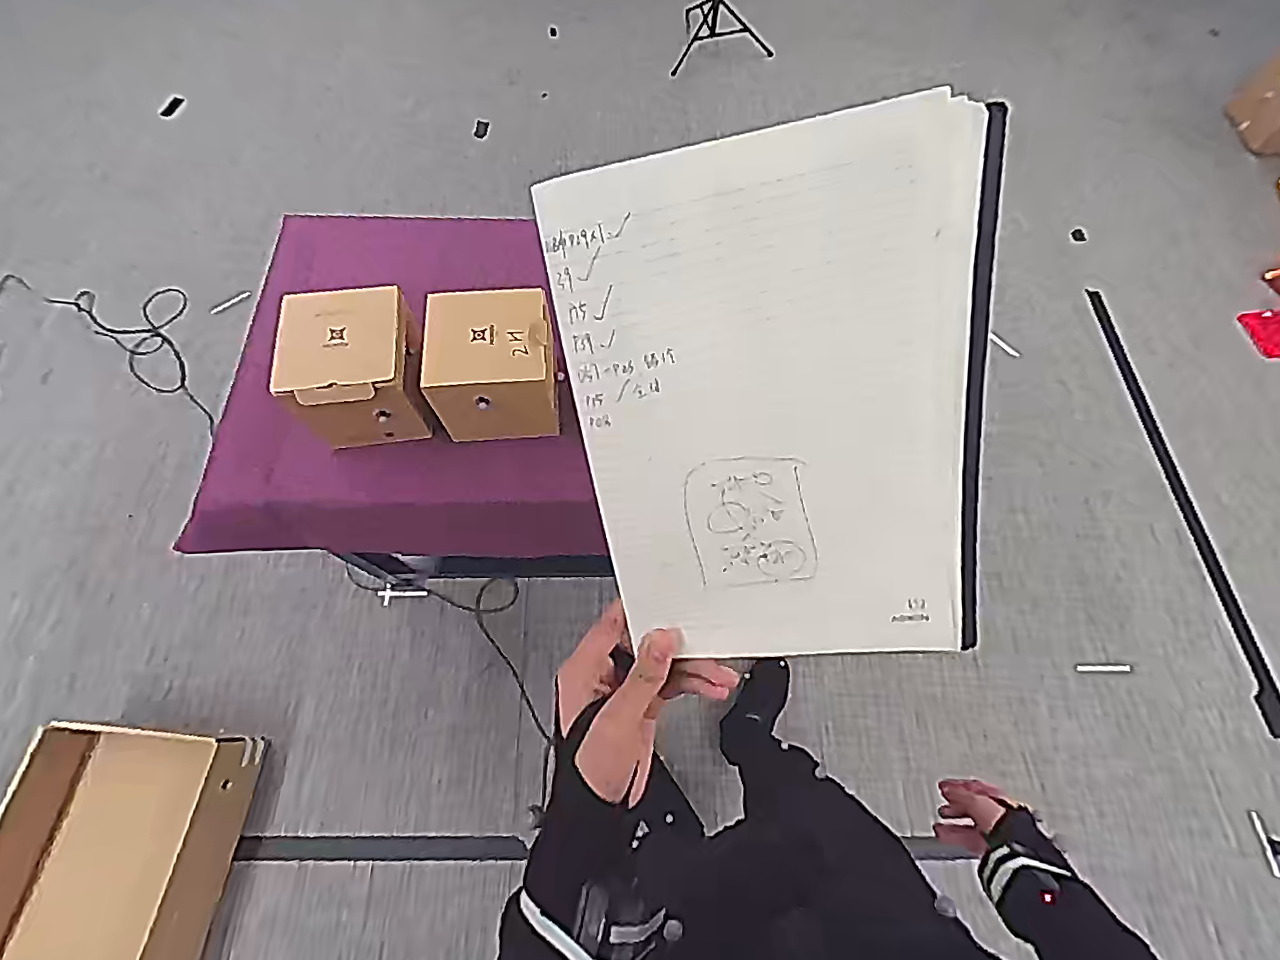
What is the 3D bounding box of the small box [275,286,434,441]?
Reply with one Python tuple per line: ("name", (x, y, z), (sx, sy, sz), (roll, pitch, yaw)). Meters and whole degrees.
("small box", (-0.430, -0.172, 0.845), (0.168, 0.176, 0.179), (-7, 67, -5))
